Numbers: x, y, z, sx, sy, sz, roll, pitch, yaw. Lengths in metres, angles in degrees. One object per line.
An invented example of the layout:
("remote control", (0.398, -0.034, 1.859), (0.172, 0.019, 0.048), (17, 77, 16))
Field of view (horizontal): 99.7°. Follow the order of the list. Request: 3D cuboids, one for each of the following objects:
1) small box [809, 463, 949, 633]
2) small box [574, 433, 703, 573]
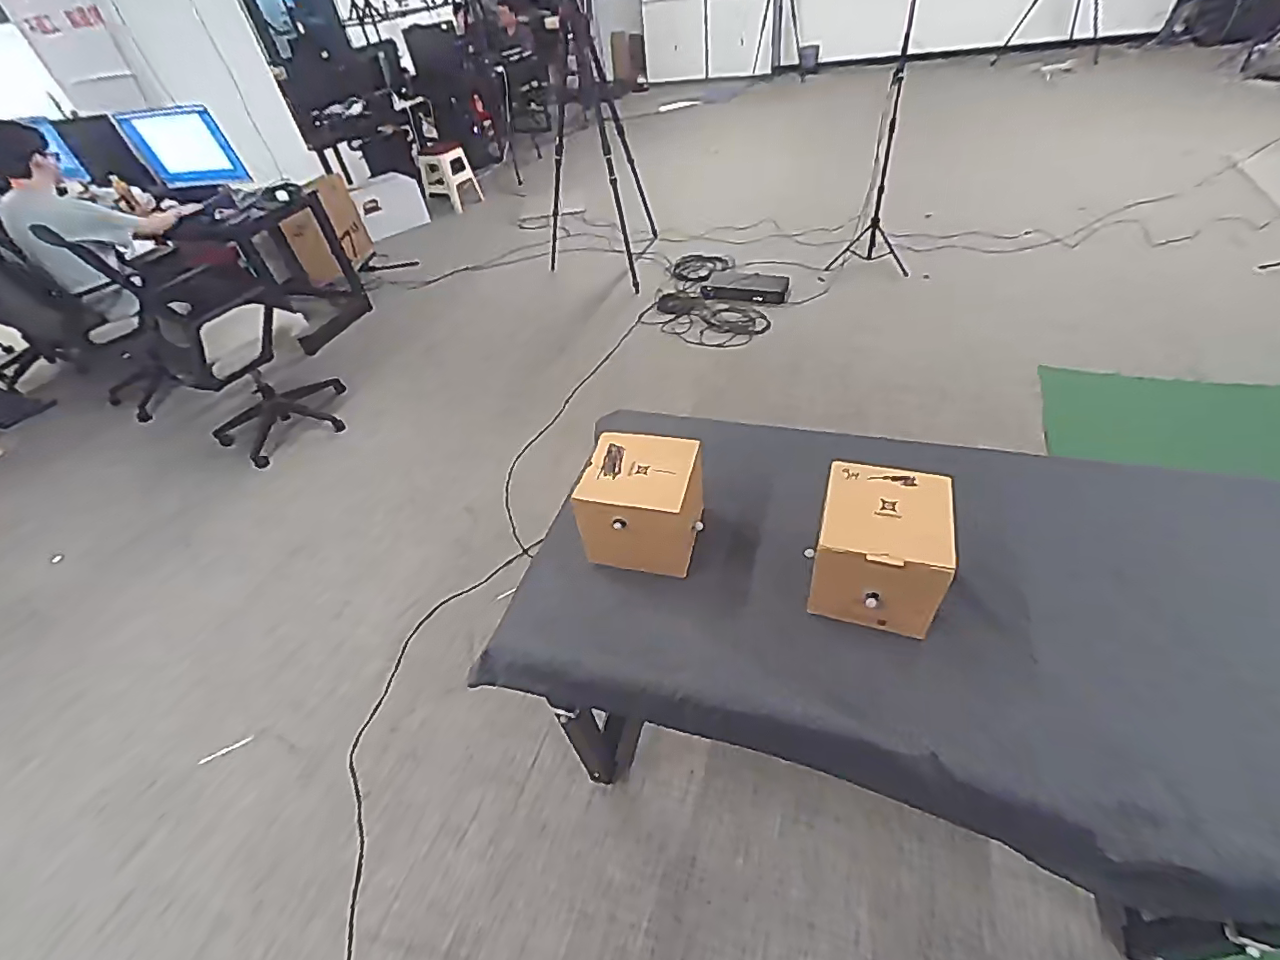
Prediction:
("small box", (0.353, 0.102, 0.813), (0.168, 0.176, 0.179), (10, 48, 19))
("small box", (0.007, 0.041, 0.931), (0.179, 0.176, 0.168), (7, 47, 15))
